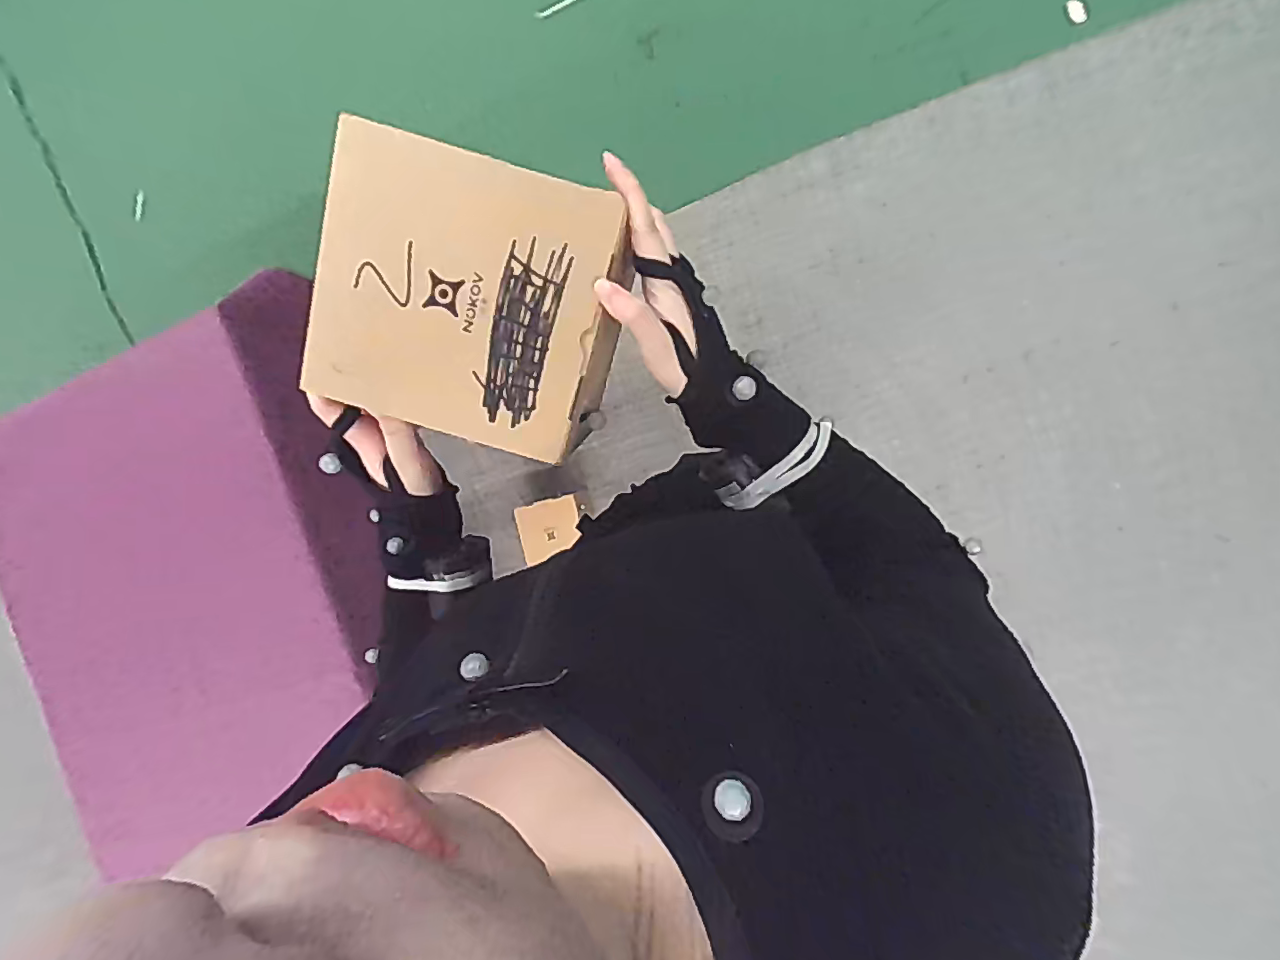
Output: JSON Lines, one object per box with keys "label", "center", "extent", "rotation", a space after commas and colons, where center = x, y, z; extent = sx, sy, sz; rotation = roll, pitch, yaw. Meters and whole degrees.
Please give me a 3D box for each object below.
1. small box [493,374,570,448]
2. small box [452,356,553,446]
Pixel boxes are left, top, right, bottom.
{"label": "small box", "center": [-0.299, -0.182, 1.464], "extent": [0.179, 0.176, 0.168], "rotation": [-10, 90, 10]}
{"label": "small box", "center": [-0.320, -0.182, 1.300], "extent": [0.179, 0.176, 0.168], "rotation": [-13, 88, 8]}
